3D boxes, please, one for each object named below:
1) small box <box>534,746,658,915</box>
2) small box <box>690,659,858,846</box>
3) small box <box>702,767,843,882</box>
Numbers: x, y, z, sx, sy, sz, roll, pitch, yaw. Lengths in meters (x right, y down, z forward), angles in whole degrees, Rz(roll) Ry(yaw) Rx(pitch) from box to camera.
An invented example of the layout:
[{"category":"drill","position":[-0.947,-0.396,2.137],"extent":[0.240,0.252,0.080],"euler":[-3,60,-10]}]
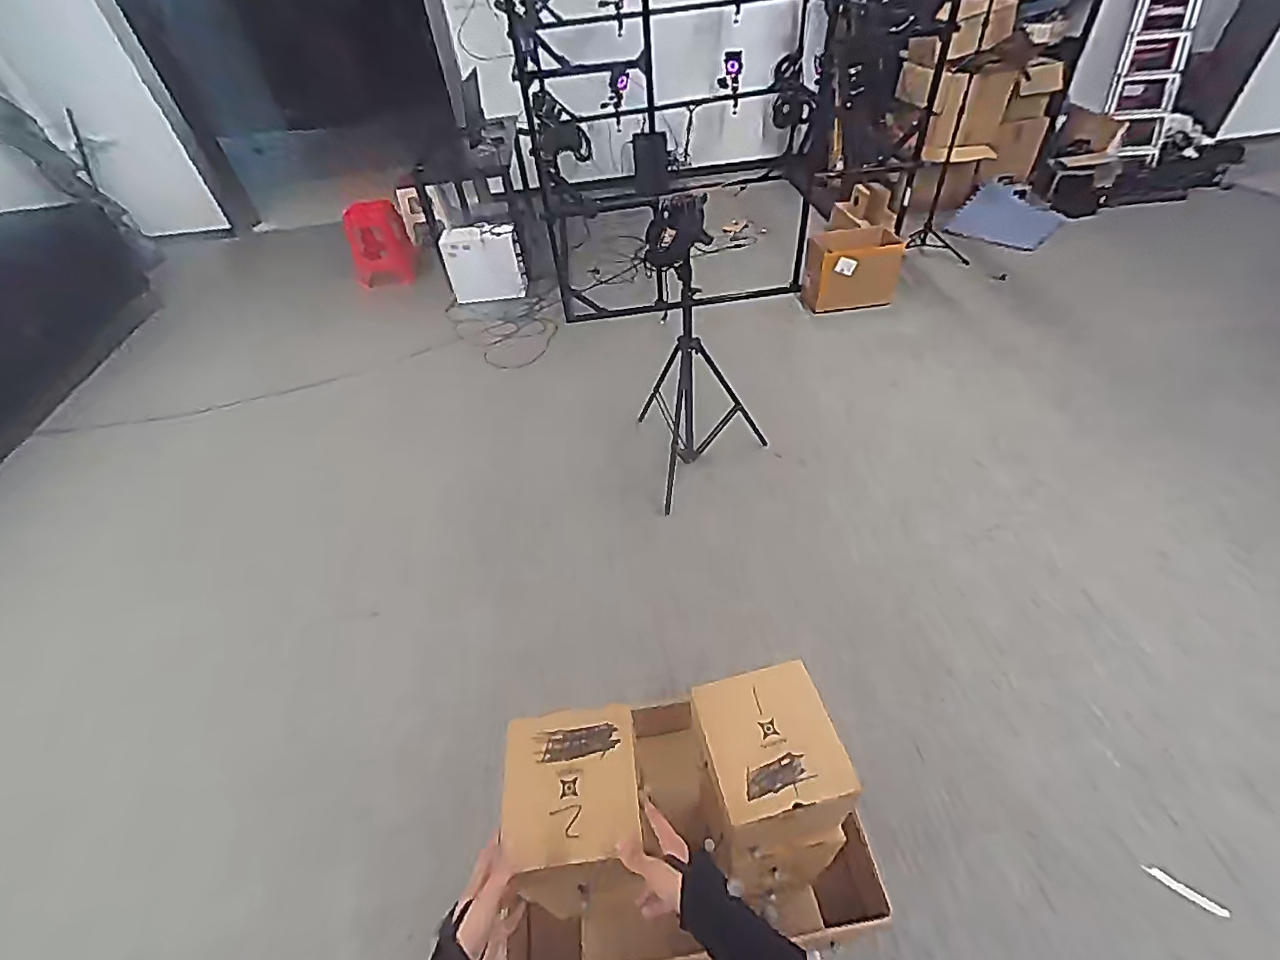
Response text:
[{"category":"small box","position":[-0.065,0.548,0.847],"extent":[0.168,0.176,0.179],"euler":[-8,44,-1]},{"category":"small box","position":[0.174,0.383,0.752],"extent":[0.168,0.176,0.179],"euler":[-12,45,-6]},{"category":"small box","position":[0.196,0.506,0.860],"extent":[0.168,0.176,0.179],"euler":[-10,46,-3]}]
